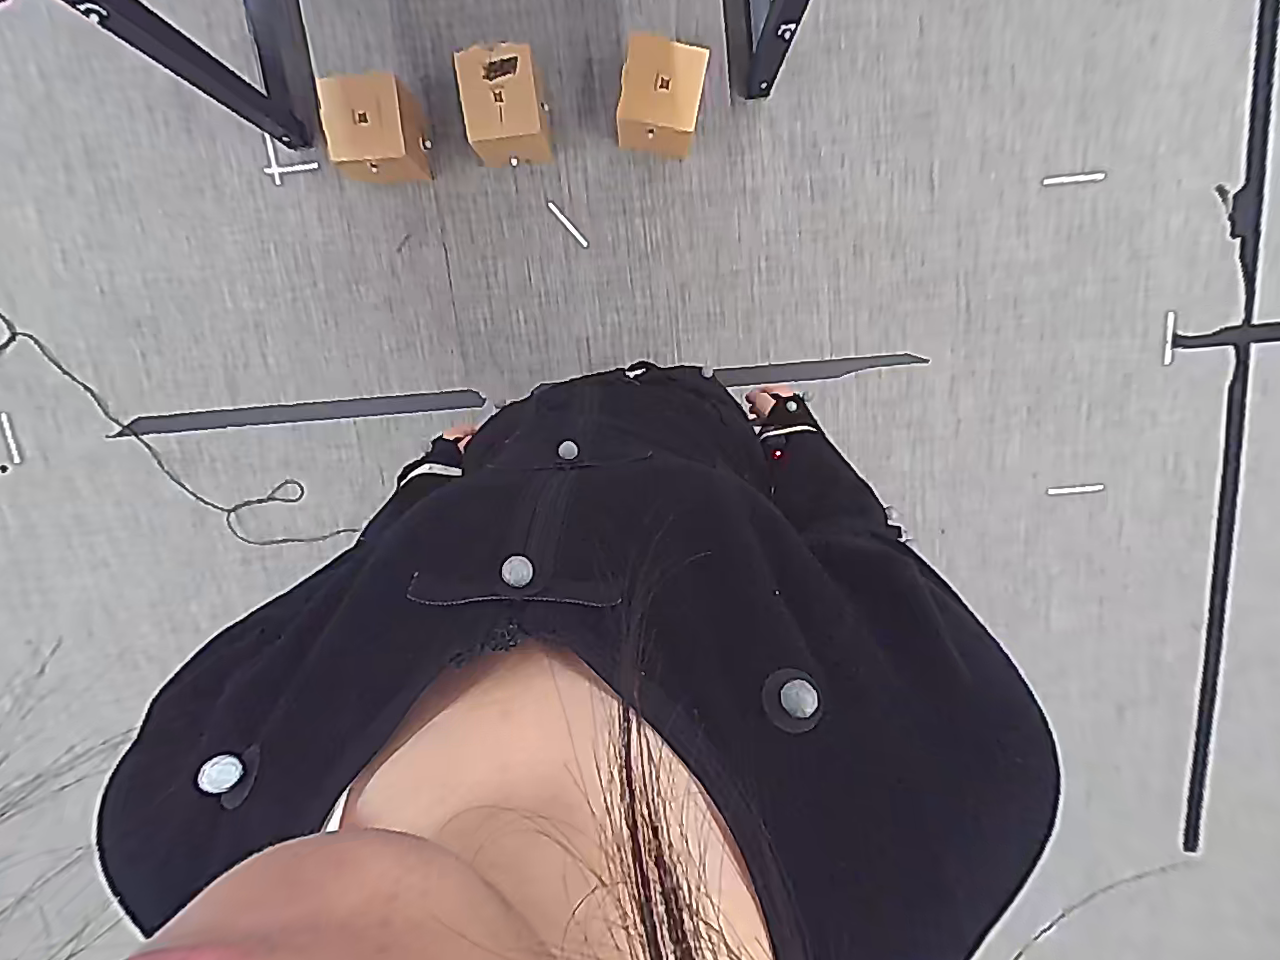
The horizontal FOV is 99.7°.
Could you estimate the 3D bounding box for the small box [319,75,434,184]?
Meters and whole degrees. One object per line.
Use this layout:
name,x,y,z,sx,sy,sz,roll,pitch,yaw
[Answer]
small box,-0.605,-0.806,1.261,0.179,0.176,0.168,-3,102,0

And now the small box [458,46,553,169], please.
small box,-0.303,-0.851,1.249,0.168,0.176,0.179,-6,102,2

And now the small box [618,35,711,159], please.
small box,0.054,-0.868,1.246,0.179,0.176,0.168,12,101,-1
